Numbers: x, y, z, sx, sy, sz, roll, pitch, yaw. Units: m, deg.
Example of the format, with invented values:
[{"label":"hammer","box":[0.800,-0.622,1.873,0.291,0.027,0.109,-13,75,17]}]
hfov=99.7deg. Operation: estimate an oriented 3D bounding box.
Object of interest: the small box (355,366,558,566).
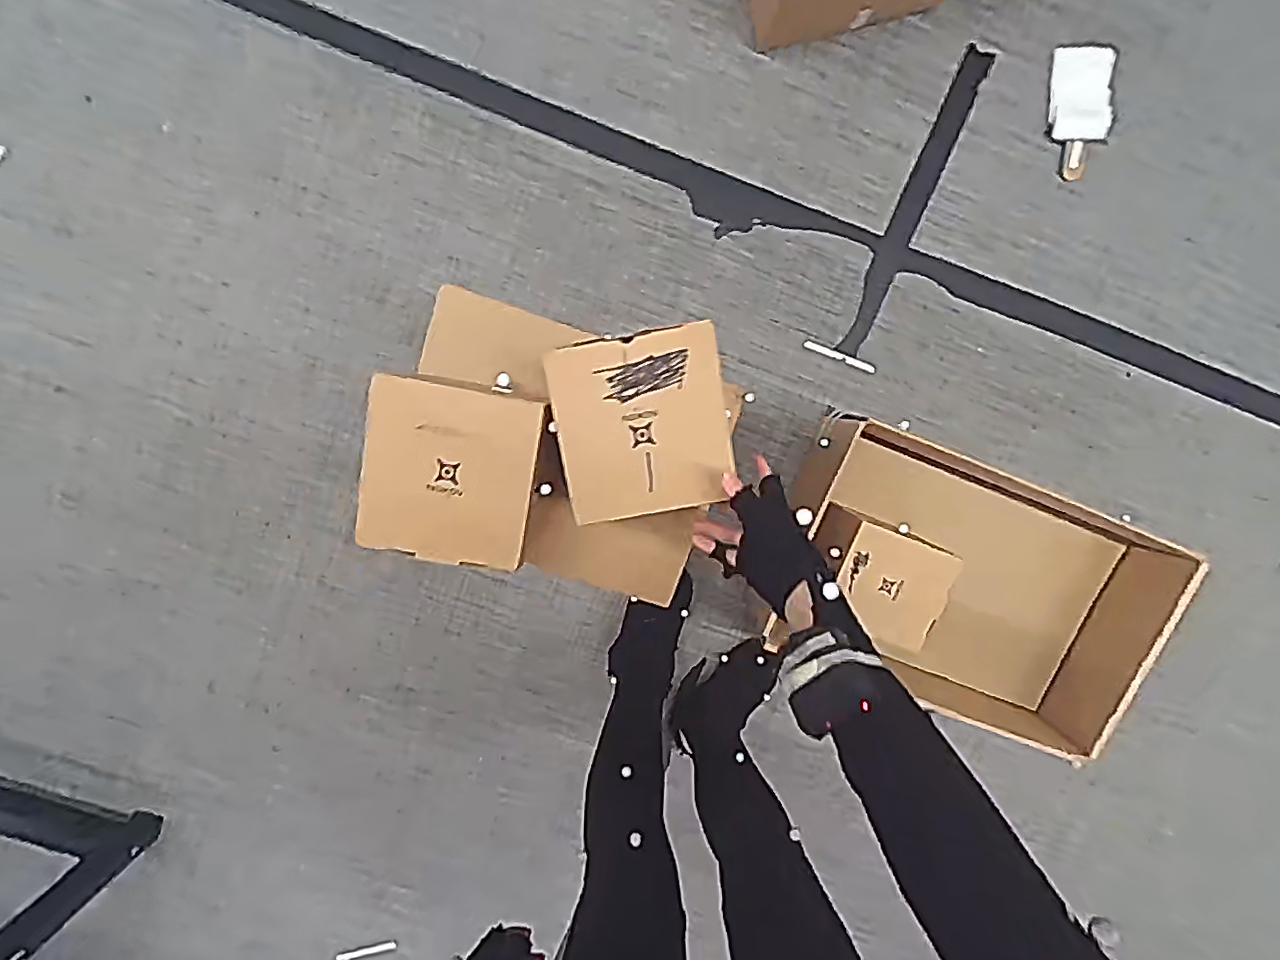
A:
[{"label":"small box","box":[-0.190,-0.023,0.603,0.168,0.176,0.179,10,99,-4]}]

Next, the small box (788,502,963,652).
[{"label":"small box","box":[0.376,0.150,0.896,0.179,0.176,0.168,21,97,-6]}]

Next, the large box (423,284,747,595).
[{"label":"large box","box":[-0.100,-0.067,0.842,0.408,0.320,0.320,18,100,-4]}]
